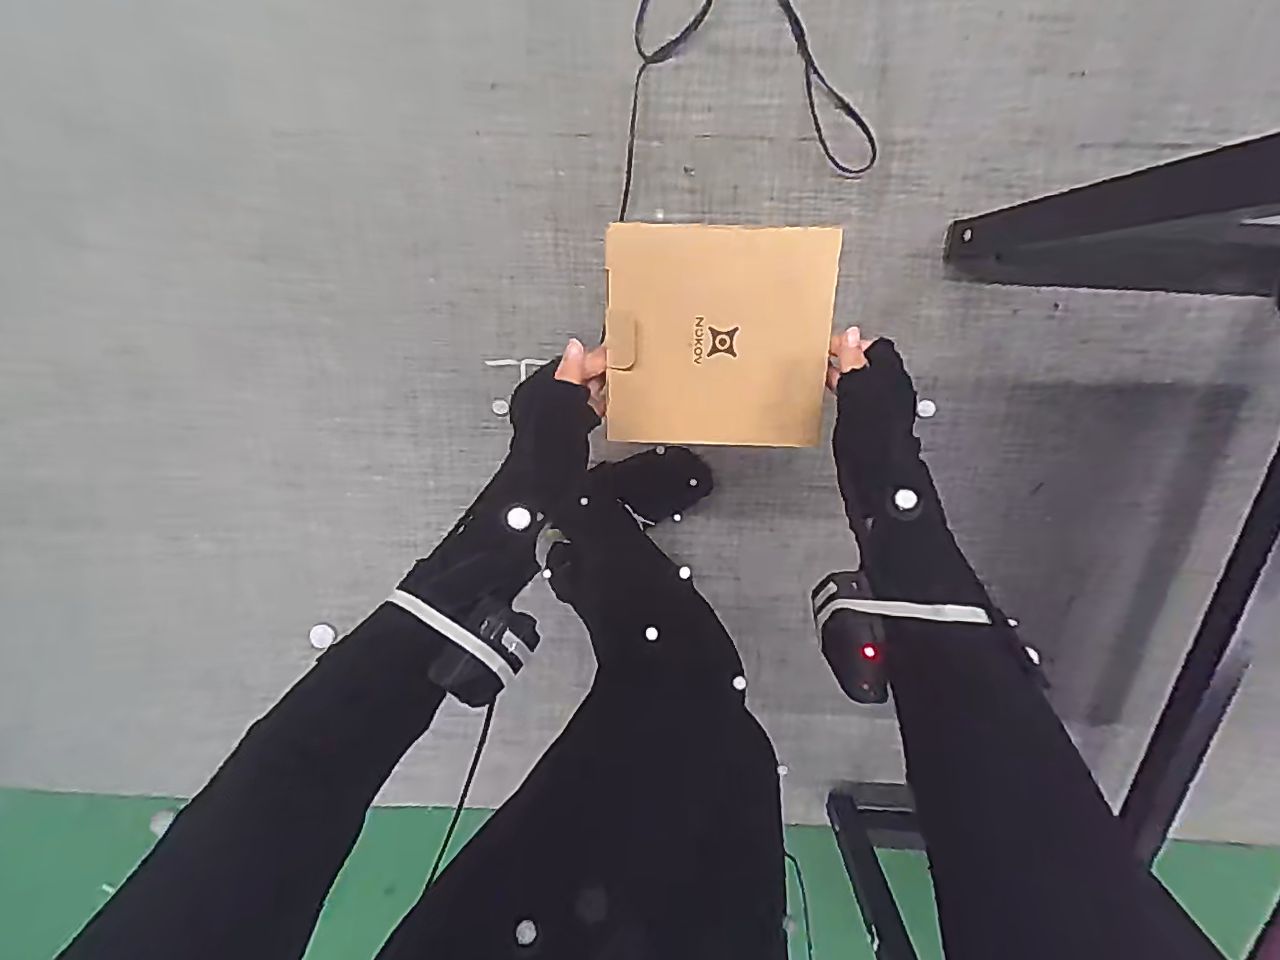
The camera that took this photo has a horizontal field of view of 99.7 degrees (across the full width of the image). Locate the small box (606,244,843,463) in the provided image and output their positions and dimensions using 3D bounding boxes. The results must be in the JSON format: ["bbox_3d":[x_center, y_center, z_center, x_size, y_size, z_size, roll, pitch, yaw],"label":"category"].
[{"bbox_3d":[0.066,-0.120,0.503,0.179,0.176,0.168,3,107,3],"label":"small box"}]
